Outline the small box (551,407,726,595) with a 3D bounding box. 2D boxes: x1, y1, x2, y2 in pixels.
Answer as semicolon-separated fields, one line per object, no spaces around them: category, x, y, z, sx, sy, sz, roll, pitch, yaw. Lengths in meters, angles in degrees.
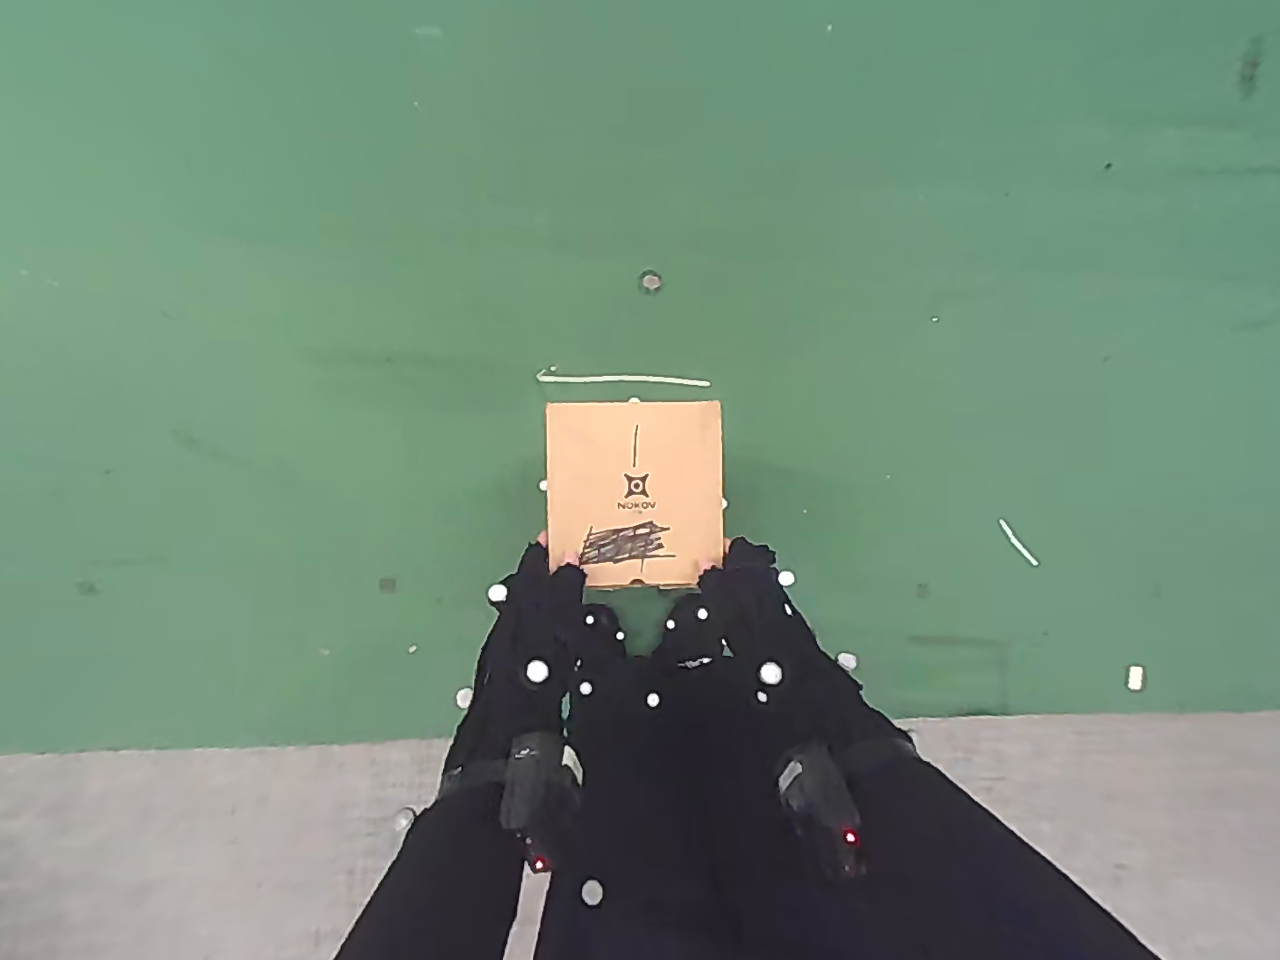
small box;-0.004;0.018;0.582;0.168;0.176;0.179;-1;90;-3
